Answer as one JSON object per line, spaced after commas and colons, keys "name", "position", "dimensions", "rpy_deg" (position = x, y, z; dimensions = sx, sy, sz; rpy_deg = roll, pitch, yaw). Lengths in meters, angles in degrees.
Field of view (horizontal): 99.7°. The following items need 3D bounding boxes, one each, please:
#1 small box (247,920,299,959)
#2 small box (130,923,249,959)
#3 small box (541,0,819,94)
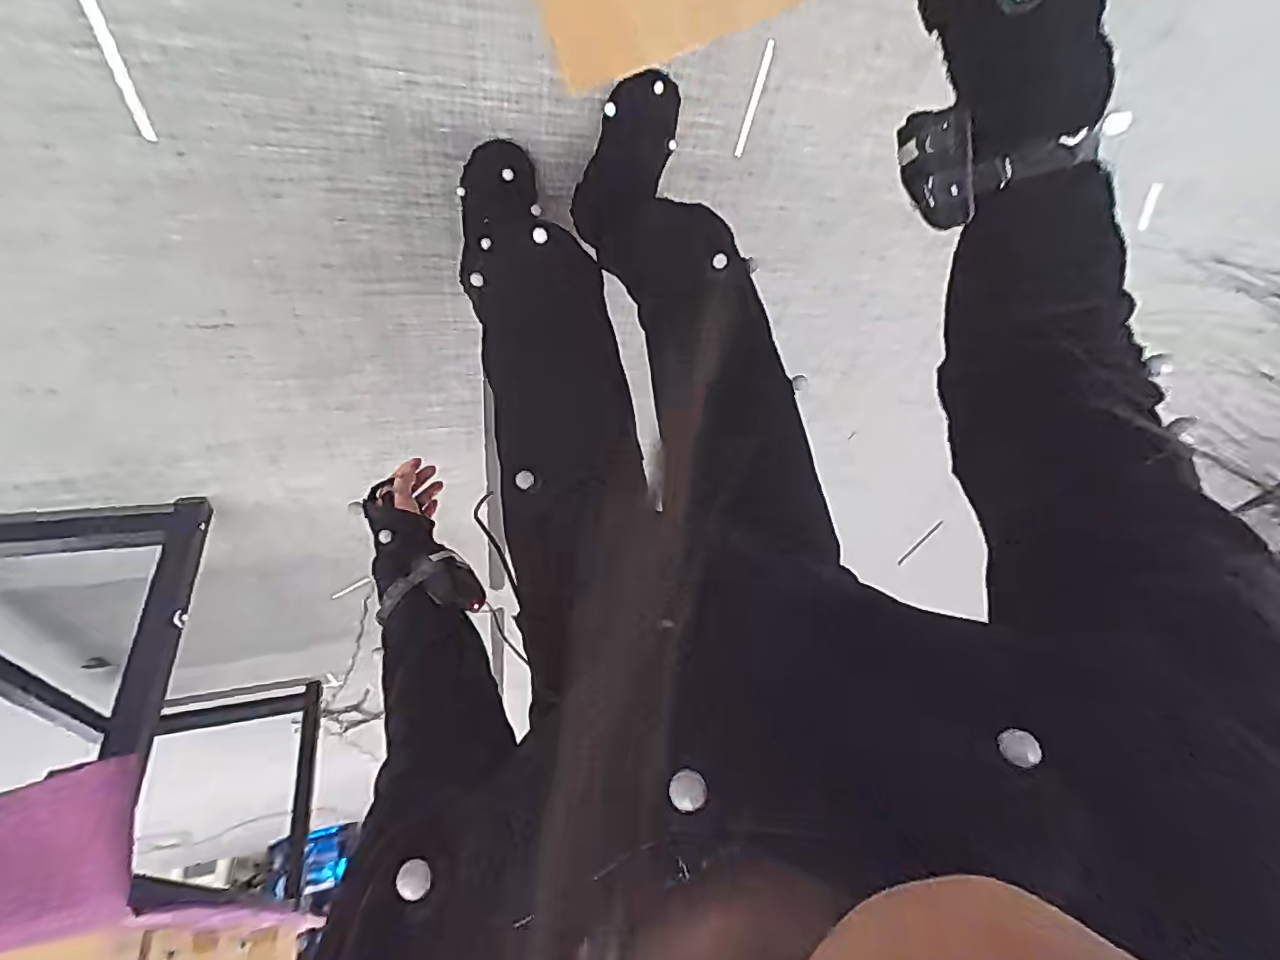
{"name": "small box", "position": [-1.006, 1.265, 1.400], "dimensions": [0.168, 0.176, 0.179], "rpy_deg": [-5, 143, -17]}
{"name": "small box", "position": [-0.960, 1.067, 1.145], "dimensions": [0.179, 0.176, 0.168], "rpy_deg": [-5, 143, -16]}
{"name": "small box", "position": [0.009, -0.340, 0.249], "dimensions": [0.179, 0.176, 0.168], "rpy_deg": [-20, -176, 5]}
